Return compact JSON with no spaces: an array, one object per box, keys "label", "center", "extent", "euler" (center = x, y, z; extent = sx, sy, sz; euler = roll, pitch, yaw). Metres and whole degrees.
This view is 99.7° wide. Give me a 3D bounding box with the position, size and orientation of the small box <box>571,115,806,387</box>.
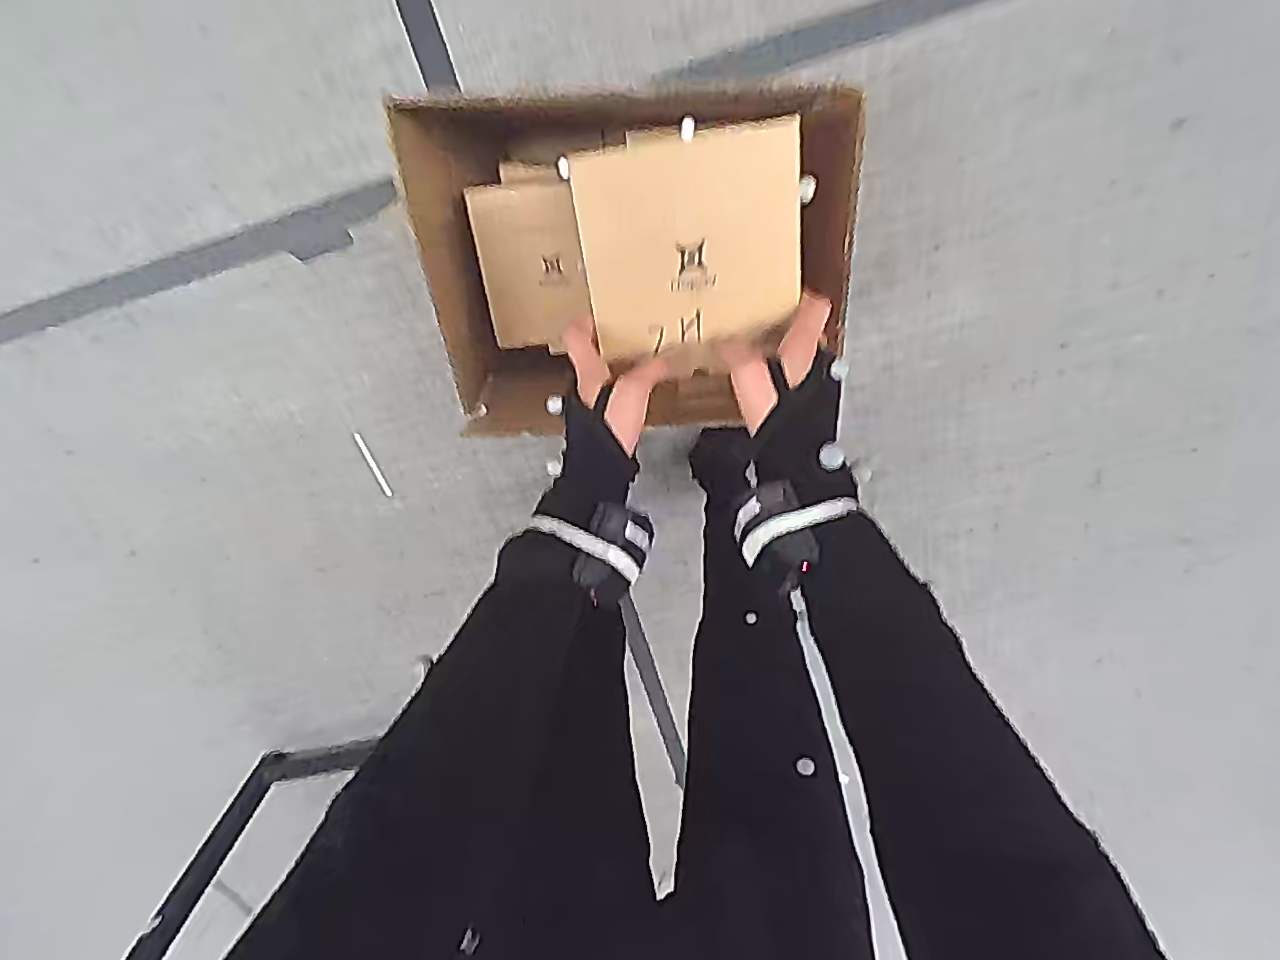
[{"label":"small box","center":[0.047,-0.198,0.477],"extent":[0.168,0.176,0.179],"euler":[-4,119,8]}]
